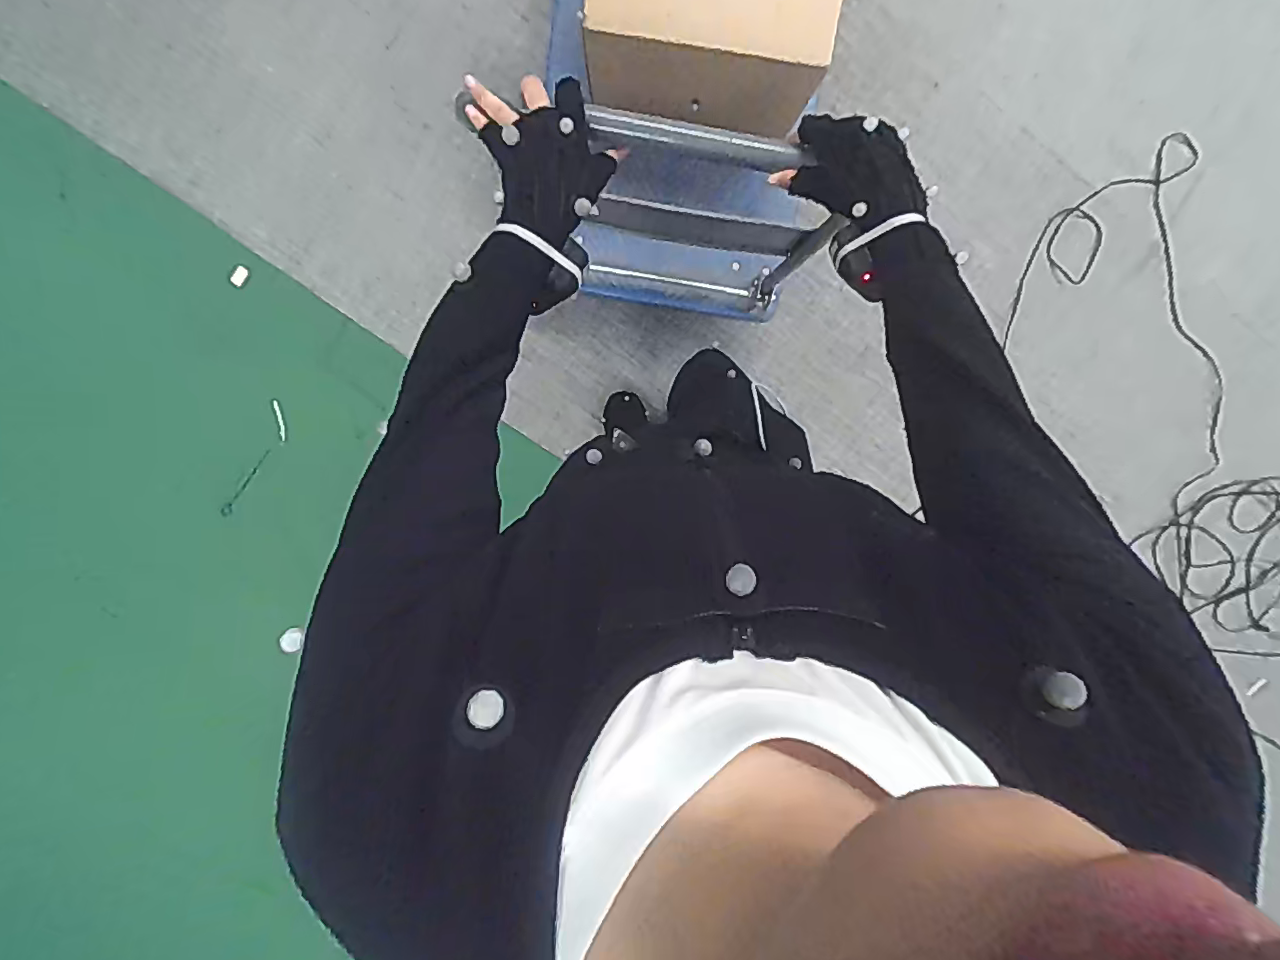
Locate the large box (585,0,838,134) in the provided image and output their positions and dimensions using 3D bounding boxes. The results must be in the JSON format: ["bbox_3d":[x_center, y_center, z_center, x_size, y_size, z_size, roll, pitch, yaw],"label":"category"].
[{"bbox_3d":[0.126,-0.877,0.983,0.408,0.320,0.320,7,101,-2],"label":"large box"}]
